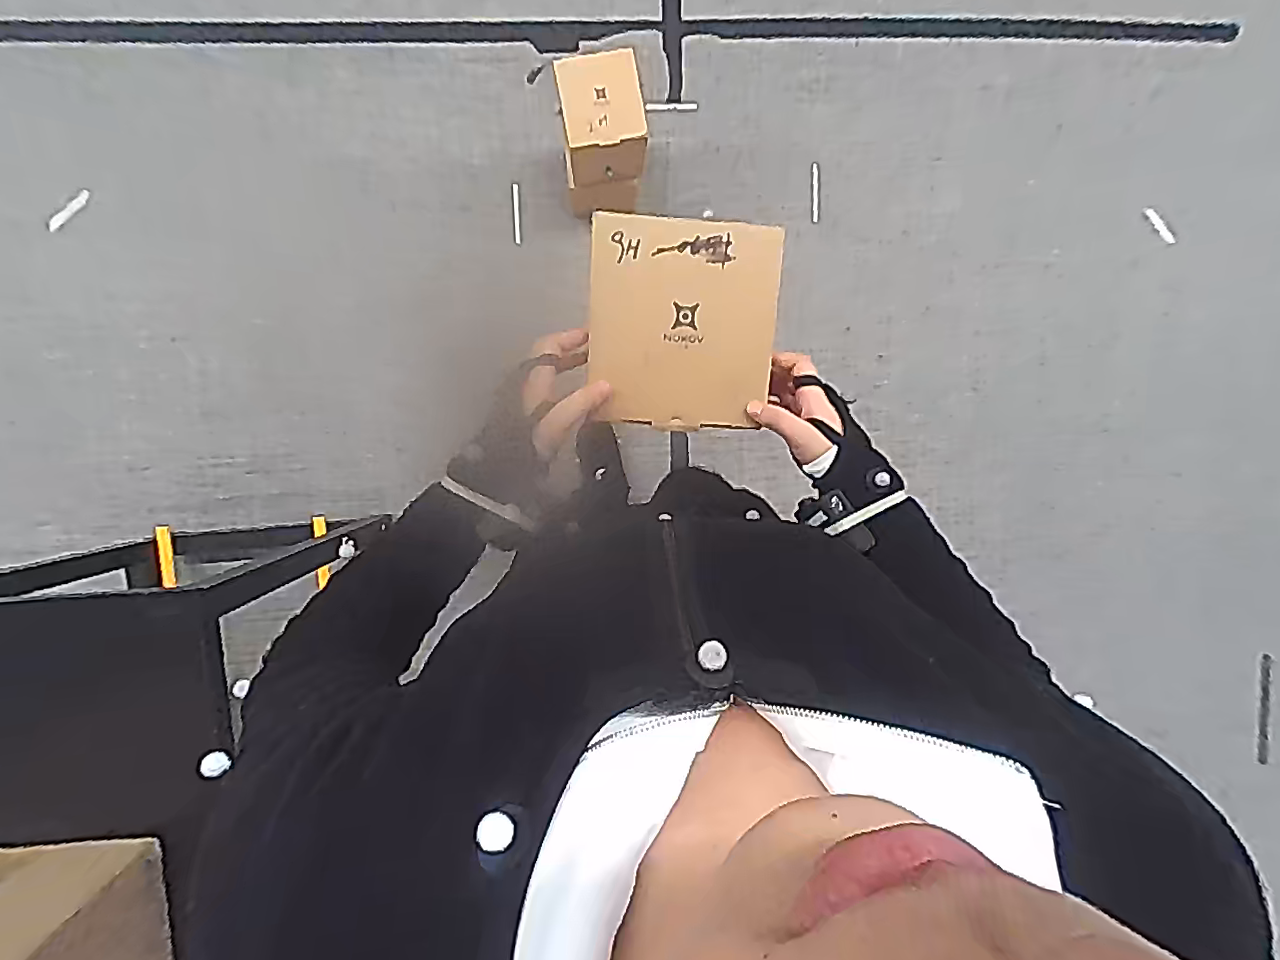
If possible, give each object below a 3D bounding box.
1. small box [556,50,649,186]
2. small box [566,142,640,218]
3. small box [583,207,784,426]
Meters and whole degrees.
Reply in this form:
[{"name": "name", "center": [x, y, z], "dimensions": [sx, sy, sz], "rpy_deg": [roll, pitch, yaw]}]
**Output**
[{"name": "small box", "center": [-0.081, -0.772, 1.169], "dimensions": [0.168, 0.176, 0.179], "rpy_deg": [-11, 95, -2]}, {"name": "small box", "center": [-0.094, -0.773, 1.334], "dimensions": [0.168, 0.176, 0.179], "rpy_deg": [-6, 96, -2]}, {"name": "small box", "center": [0.031, -0.157, 0.547], "dimensions": [0.168, 0.176, 0.179], "rpy_deg": [2, 104, -5]}]
